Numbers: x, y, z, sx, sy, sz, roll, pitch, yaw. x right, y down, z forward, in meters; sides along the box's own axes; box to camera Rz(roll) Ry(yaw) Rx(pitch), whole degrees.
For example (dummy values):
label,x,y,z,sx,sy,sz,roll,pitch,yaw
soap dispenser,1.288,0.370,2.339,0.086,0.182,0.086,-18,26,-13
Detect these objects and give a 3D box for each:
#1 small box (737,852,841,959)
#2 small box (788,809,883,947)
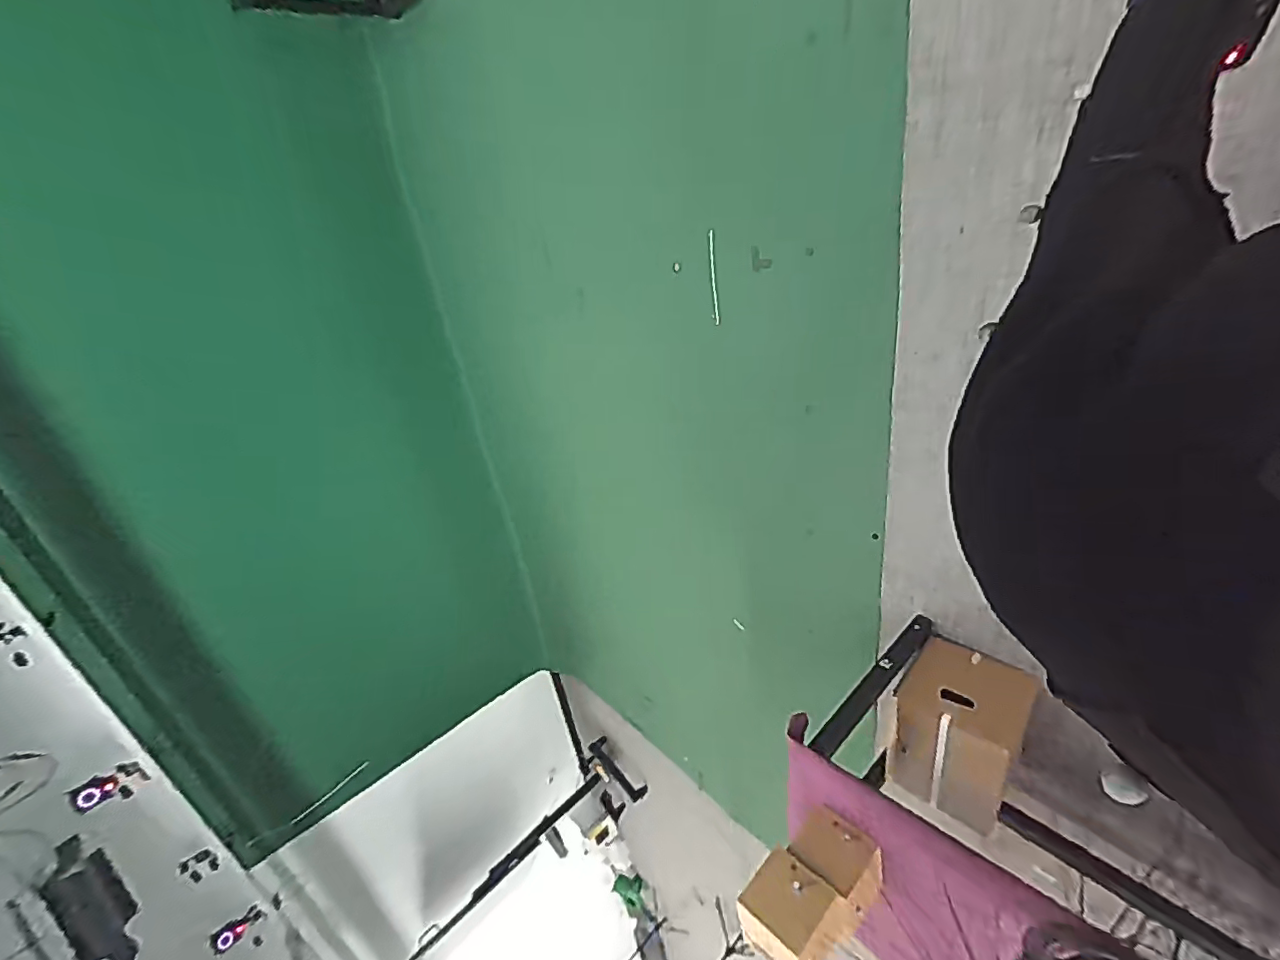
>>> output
label,x,y,z,sx,sy,sz,roll,pitch,yaw
small box,0.349,1.024,1.250,0.168,0.176,0.179,16,127,46
small box,0.483,0.972,1.333,0.168,0.176,0.179,16,127,46
